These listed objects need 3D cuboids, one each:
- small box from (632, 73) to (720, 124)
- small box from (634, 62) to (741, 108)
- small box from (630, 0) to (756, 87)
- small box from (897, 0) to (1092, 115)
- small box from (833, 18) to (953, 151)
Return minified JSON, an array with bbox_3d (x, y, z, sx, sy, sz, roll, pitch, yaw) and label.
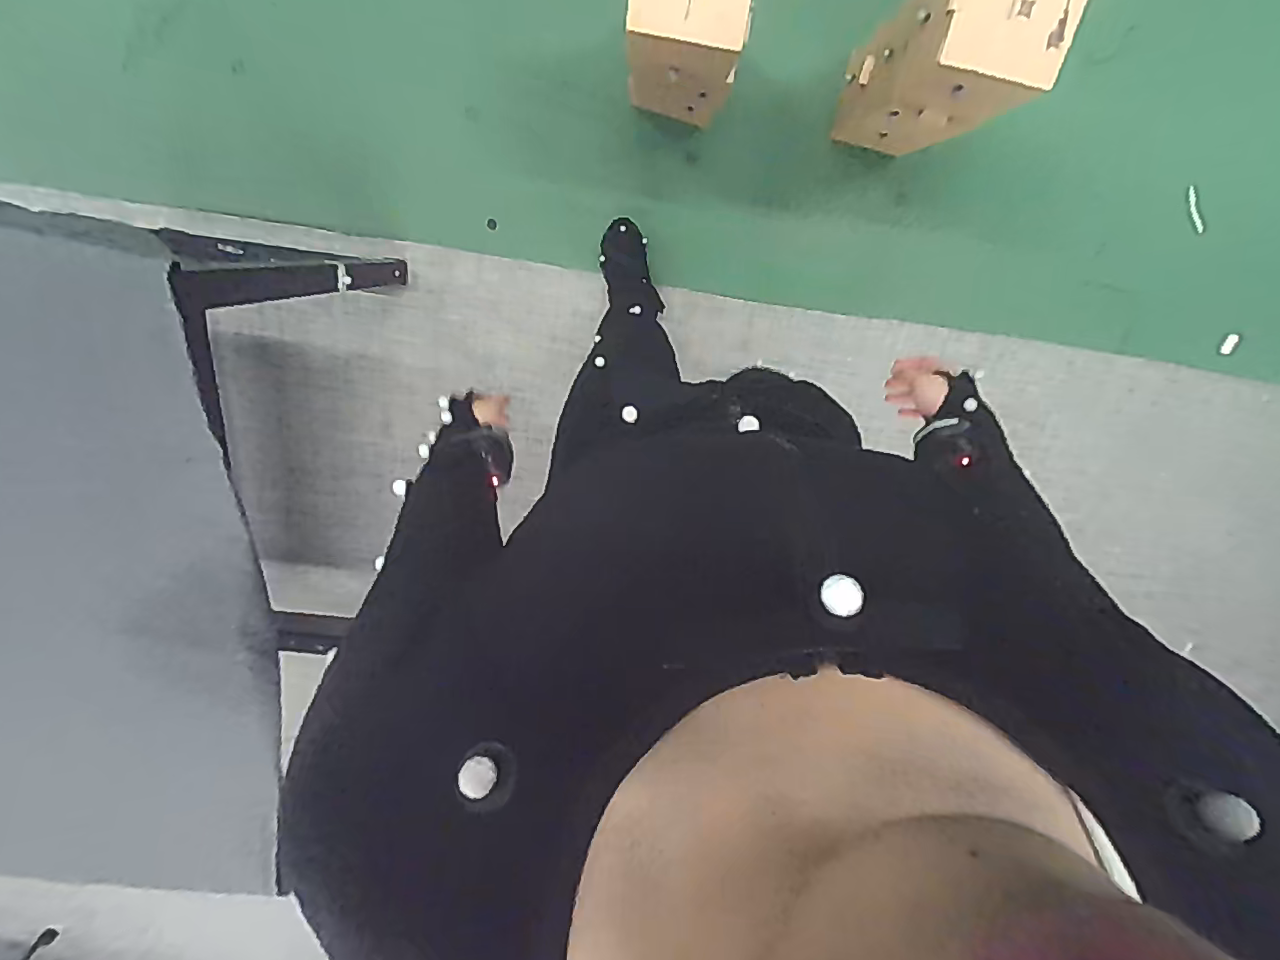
[{"bbox_3d":[0.088,-0.837,1.079,0.179,0.176,0.168,13,112,-5],"label":"small box"},{"bbox_3d":[0.084,-0.765,0.933,0.179,0.176,0.168,6,112,-1],"label":"small box"},{"bbox_3d":[0.078,-0.706,0.779,0.168,0.176,0.179,8,113,-3],"label":"small box"},{"bbox_3d":[0.515,-0.665,0.796,0.179,0.176,0.168,10,112,-3],"label":"small box"},{"bbox_3d":[0.526,-0.789,1.100,0.179,0.176,0.168,11,113,-5],"label":"small box"}]
